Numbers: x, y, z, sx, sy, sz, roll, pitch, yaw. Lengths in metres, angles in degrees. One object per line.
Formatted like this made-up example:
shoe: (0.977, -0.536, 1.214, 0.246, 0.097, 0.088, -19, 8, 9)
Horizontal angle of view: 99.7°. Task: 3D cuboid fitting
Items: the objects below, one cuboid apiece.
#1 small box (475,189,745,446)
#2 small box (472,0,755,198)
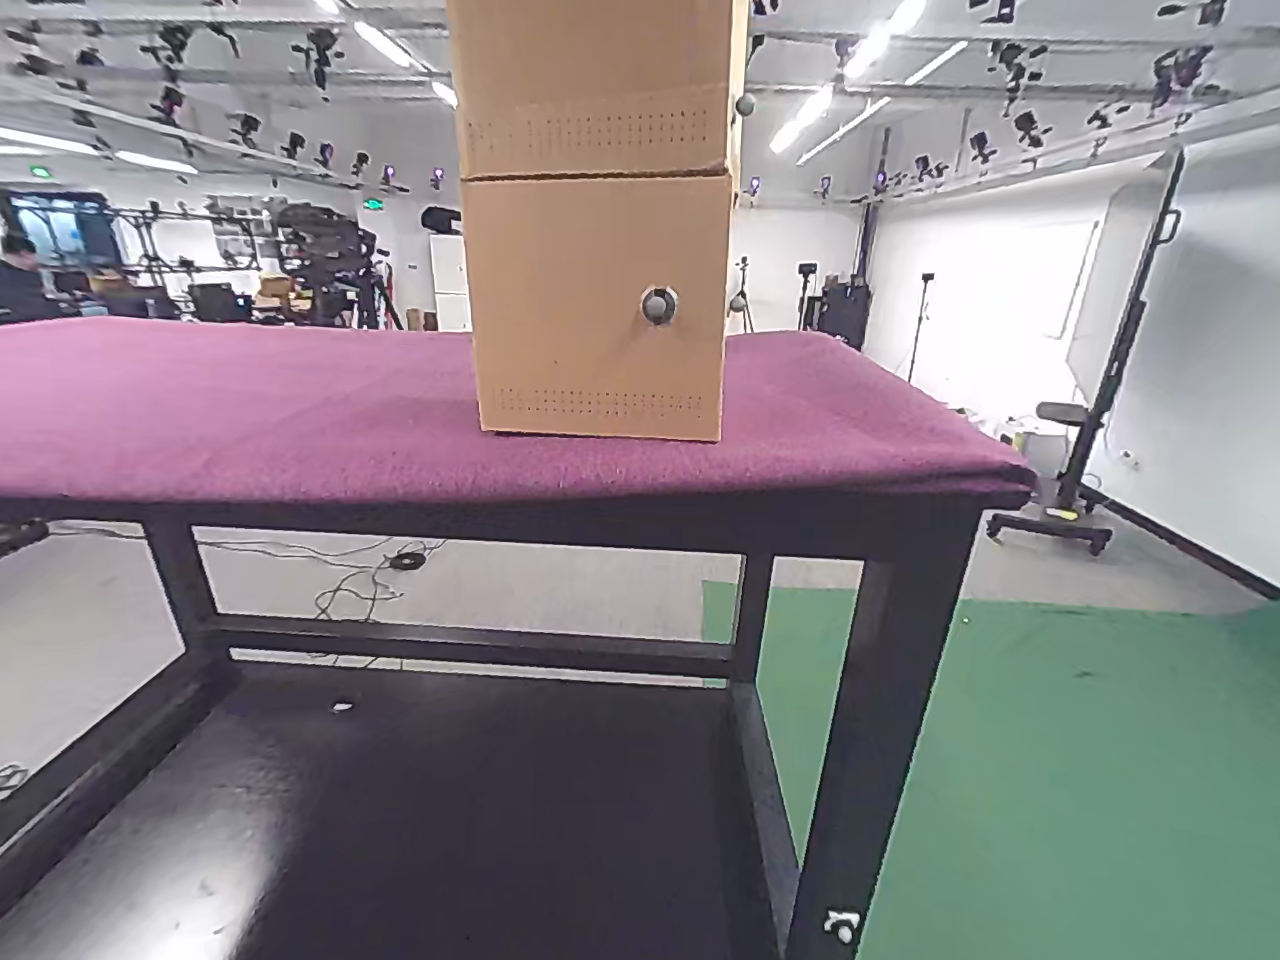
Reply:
small box: (-0.011, -0.127, 0.439, 0.179, 0.176, 0.168, 2, 18, 8)
small box: (-0.011, -0.283, 0.393, 0.179, 0.176, 0.168, 5, 19, 10)
